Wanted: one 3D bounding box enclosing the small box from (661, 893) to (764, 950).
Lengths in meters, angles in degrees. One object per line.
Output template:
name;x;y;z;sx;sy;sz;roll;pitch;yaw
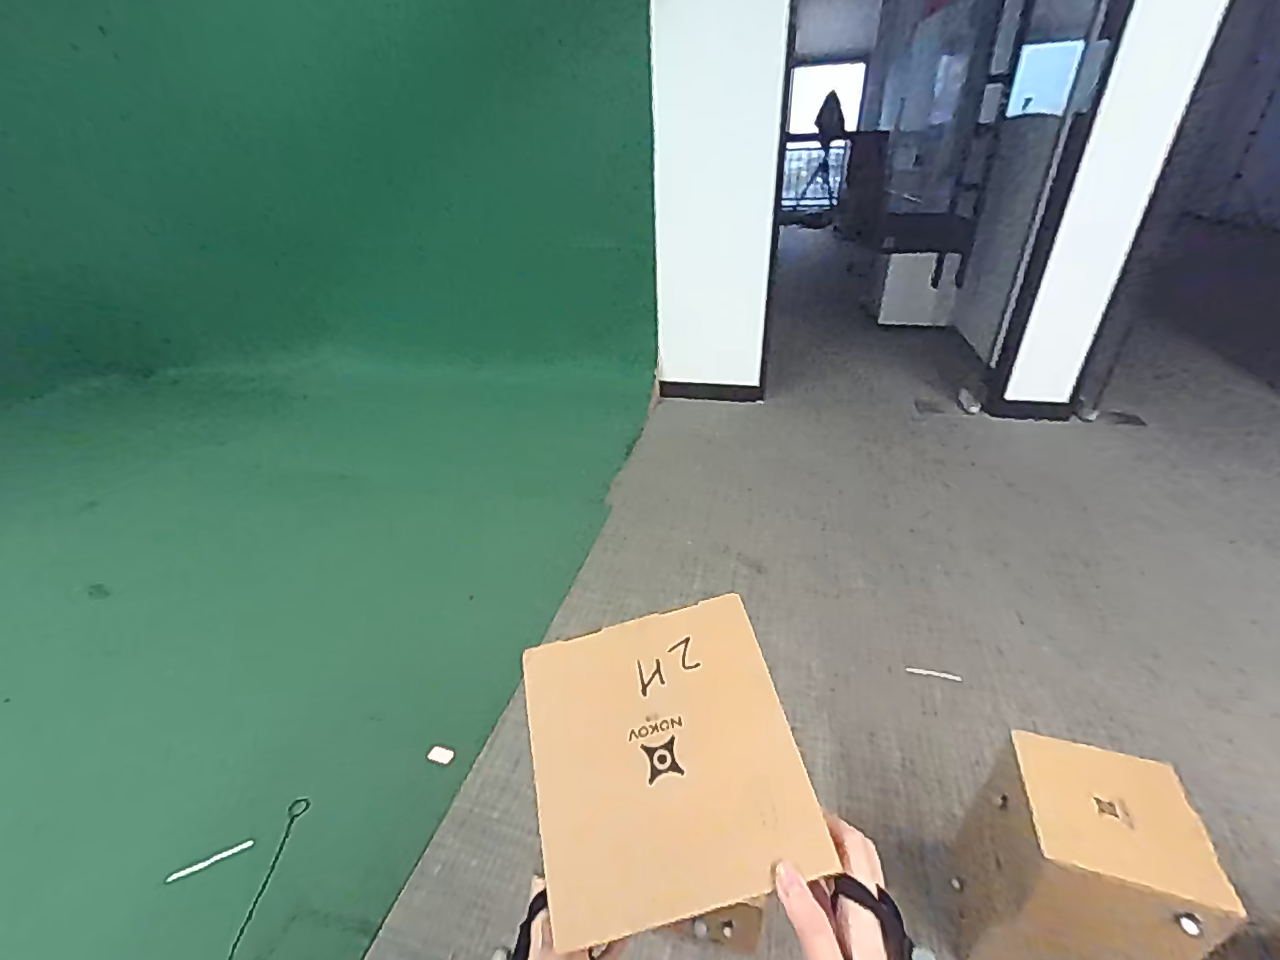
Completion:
small box;0.105;0.566;0.824;0.168;0.176;0.179;6;31;12

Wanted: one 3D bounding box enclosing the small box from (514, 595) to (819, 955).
small box;0.015;0.218;0.413;0.168;0.176;0.179;-15;53;-3

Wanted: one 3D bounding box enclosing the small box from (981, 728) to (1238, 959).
small box;0.544;0.448;0.665;0.179;0.176;0.168;8;32;17
